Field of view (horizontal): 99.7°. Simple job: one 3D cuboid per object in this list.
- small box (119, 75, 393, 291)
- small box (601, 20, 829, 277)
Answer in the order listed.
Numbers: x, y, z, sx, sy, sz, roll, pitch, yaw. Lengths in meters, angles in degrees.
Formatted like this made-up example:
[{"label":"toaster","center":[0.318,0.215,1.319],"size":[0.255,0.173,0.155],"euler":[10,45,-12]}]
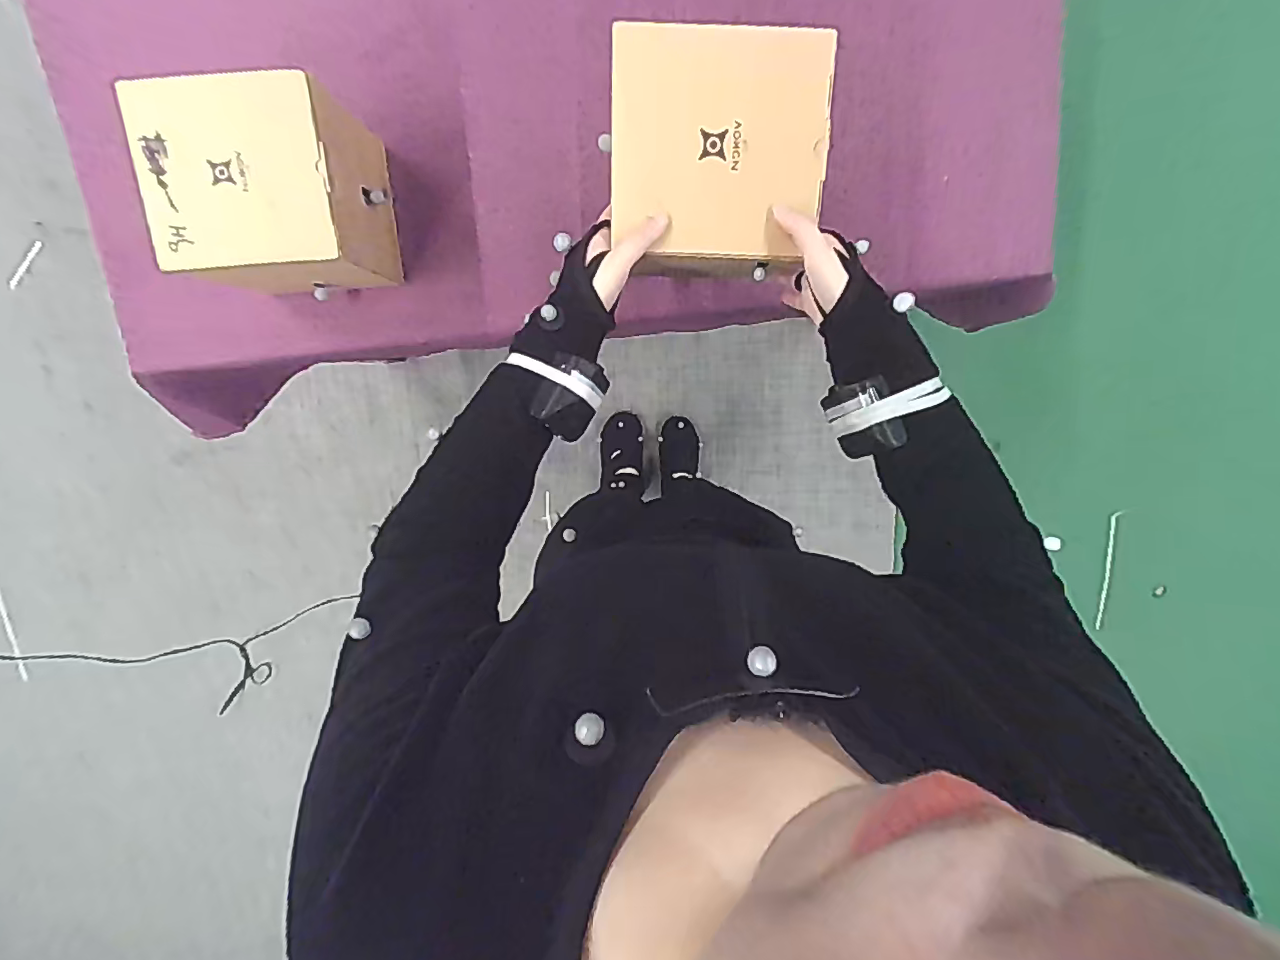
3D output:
[{"label":"small box","center":[-0.389,-0.306,0.590],"size":[0.179,0.176,0.168],"euler":[-4,101,-2]},{"label":"small box","center":[0.057,-0.290,0.513],"size":[0.179,0.176,0.168],"euler":[1,104,-1]}]
